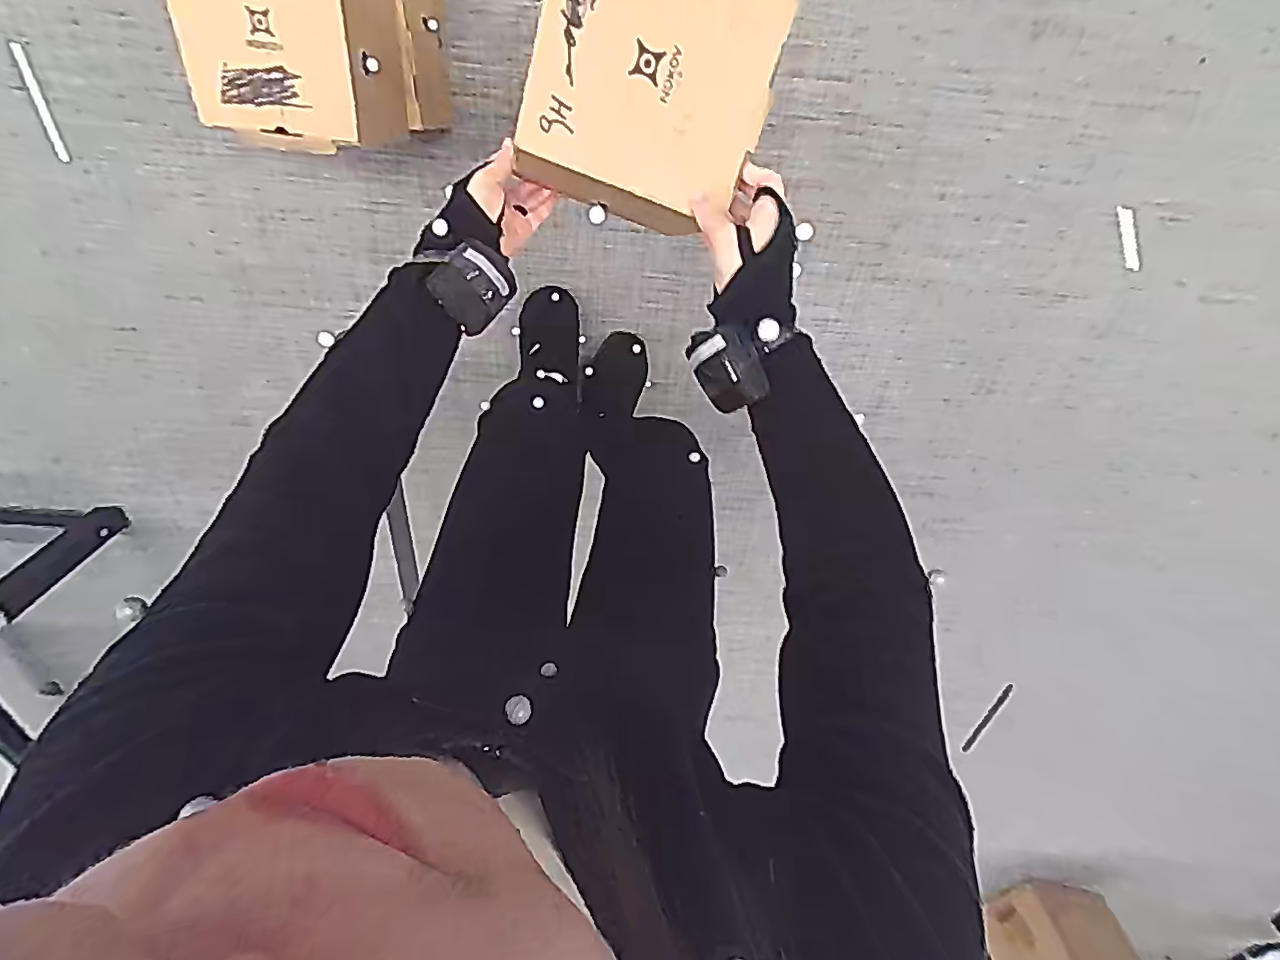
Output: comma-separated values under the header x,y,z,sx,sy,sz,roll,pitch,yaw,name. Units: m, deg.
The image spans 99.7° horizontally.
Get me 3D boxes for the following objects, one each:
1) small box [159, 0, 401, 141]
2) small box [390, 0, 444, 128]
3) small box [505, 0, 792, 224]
x,y,z,sx,sy,sz,roll,pitch,yaw,name
-0.378,-0.487,0.591,0.168,0.176,0.179,4,123,-6,small box
-0.374,-0.581,0.725,0.179,0.176,0.168,2,124,-4,small box
-0.010,-0.334,0.463,0.179,0.176,0.168,12,108,-19,small box
